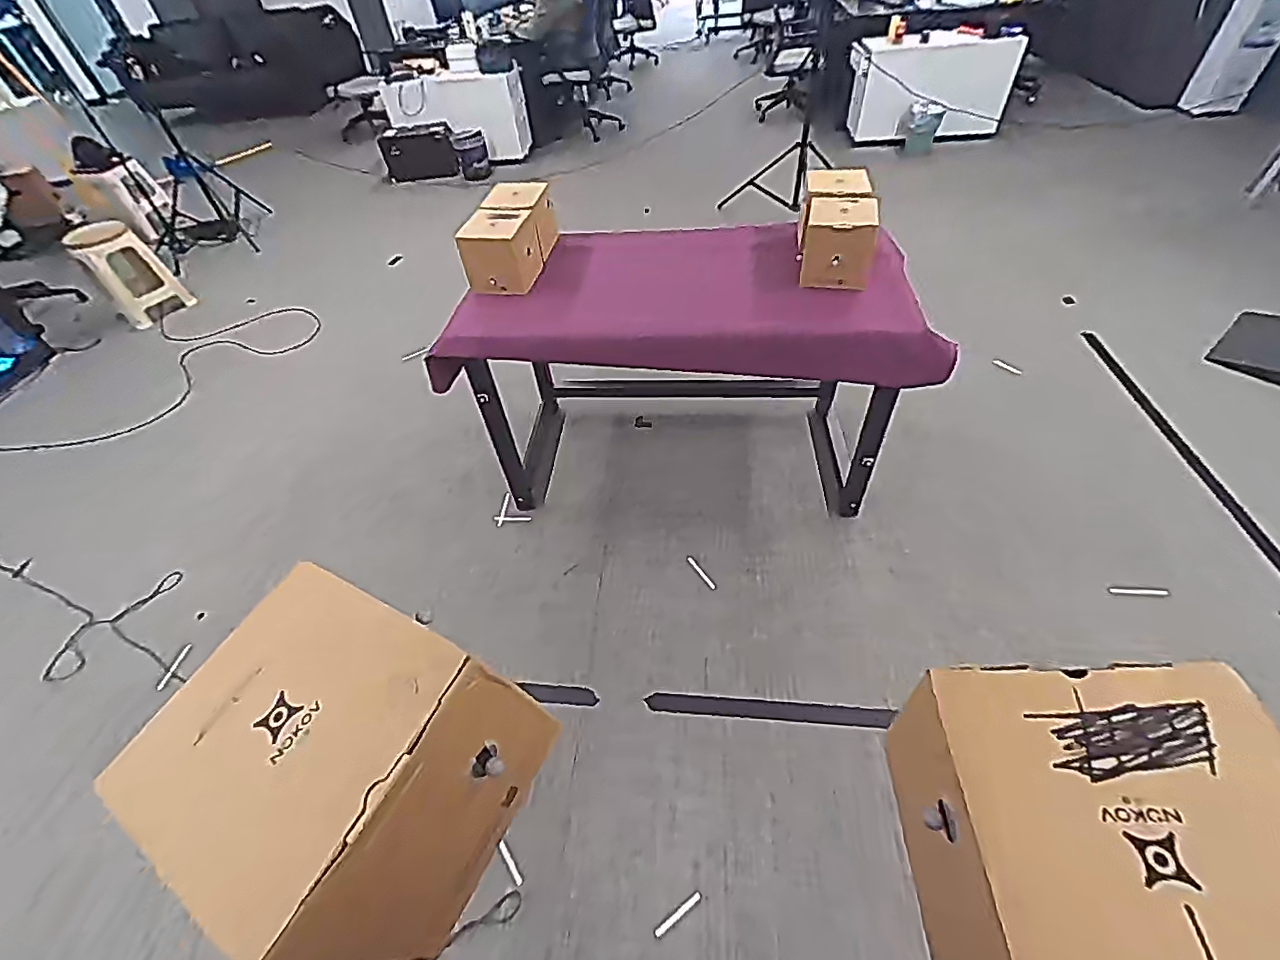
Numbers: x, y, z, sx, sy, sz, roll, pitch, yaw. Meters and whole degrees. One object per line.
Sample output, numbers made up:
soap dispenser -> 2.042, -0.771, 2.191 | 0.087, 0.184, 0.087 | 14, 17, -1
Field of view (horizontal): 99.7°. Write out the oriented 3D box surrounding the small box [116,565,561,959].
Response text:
small box -> -0.183, 0.192, 0.380 | 0.179, 0.176, 0.168 | 16, 58, 27

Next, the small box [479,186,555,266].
small box -> -0.367, -0.780, 1.659 | 0.168, 0.176, 0.179 | 4, 49, 9

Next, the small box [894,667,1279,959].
small box -> 0.273, 0.231, 0.333 | 0.168, 0.176, 0.179 | -4, 51, 10

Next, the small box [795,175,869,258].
small box -> 0.545, -0.760, 1.558 | 0.168, 0.176, 0.179 | 4, 48, 8
